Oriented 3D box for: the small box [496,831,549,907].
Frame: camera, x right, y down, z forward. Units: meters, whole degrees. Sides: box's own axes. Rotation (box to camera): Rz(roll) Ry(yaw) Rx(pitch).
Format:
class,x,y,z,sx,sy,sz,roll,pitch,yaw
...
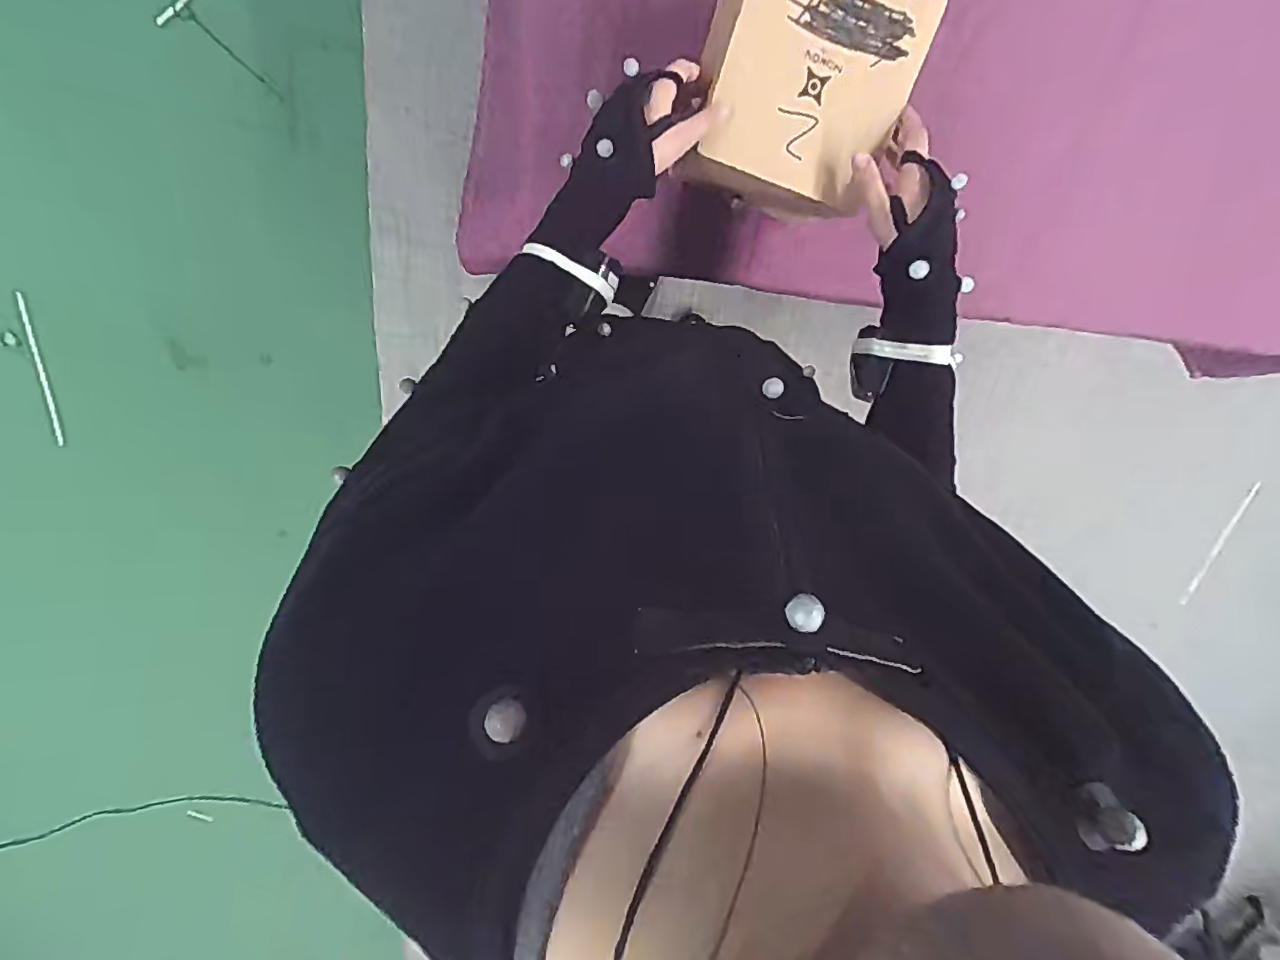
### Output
class,x,y,z,sx,sy,sz,roll,pitch,yaw
small box,-0.419,1.389,1.931,0.179,0.176,0.168,3,111,-7
